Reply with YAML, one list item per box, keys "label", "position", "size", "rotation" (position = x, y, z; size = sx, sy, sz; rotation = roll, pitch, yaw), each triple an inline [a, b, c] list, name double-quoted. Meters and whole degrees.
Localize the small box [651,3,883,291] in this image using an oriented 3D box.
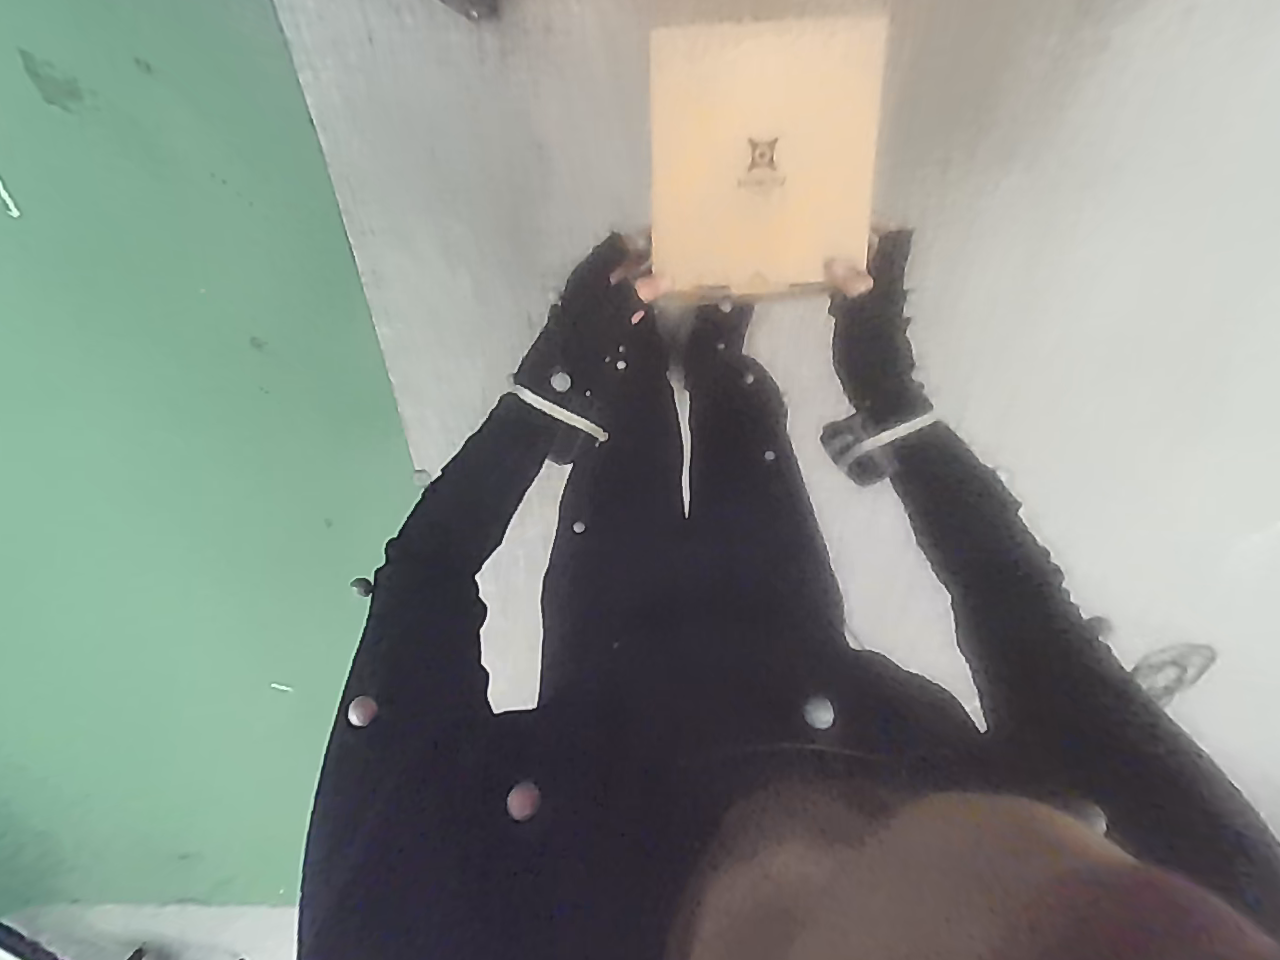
- label: "small box"
  position: [0.093, -0.268, 0.477]
  size: [0.168, 0.176, 0.179]
  rotation: [0, 105, 3]
